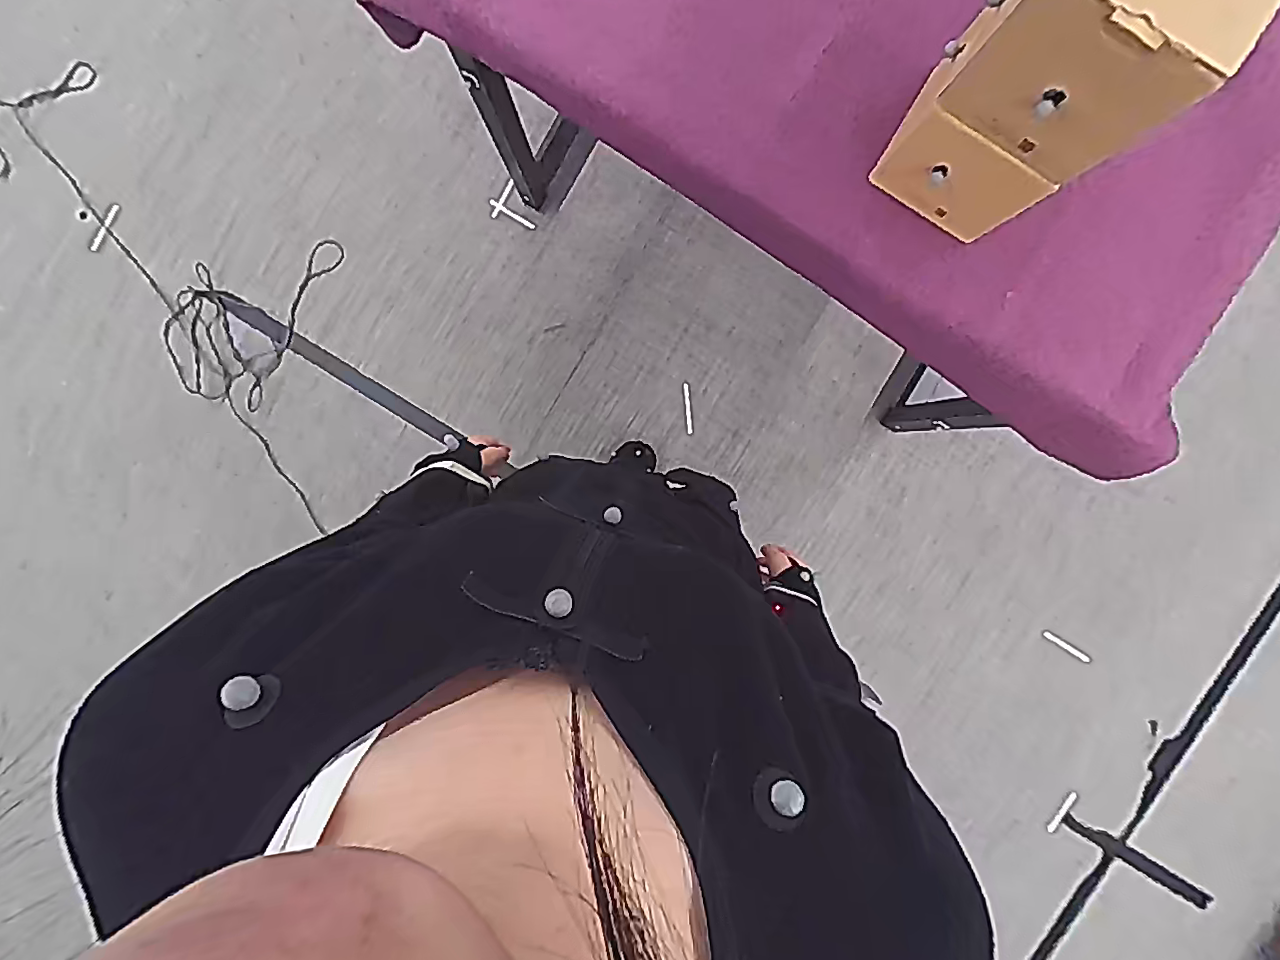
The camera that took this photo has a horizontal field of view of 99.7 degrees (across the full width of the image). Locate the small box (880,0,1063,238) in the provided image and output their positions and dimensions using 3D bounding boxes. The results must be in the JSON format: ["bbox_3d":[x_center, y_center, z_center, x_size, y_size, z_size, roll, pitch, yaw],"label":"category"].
[{"bbox_3d":[0.425,-0.434,0.658,0.168,0.176,0.179,31,92,-2],"label":"small box"}]

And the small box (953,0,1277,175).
[{"bbox_3d":[0.429,-0.427,0.494,0.168,0.176,0.179,32,93,-2],"label":"small box"}]
